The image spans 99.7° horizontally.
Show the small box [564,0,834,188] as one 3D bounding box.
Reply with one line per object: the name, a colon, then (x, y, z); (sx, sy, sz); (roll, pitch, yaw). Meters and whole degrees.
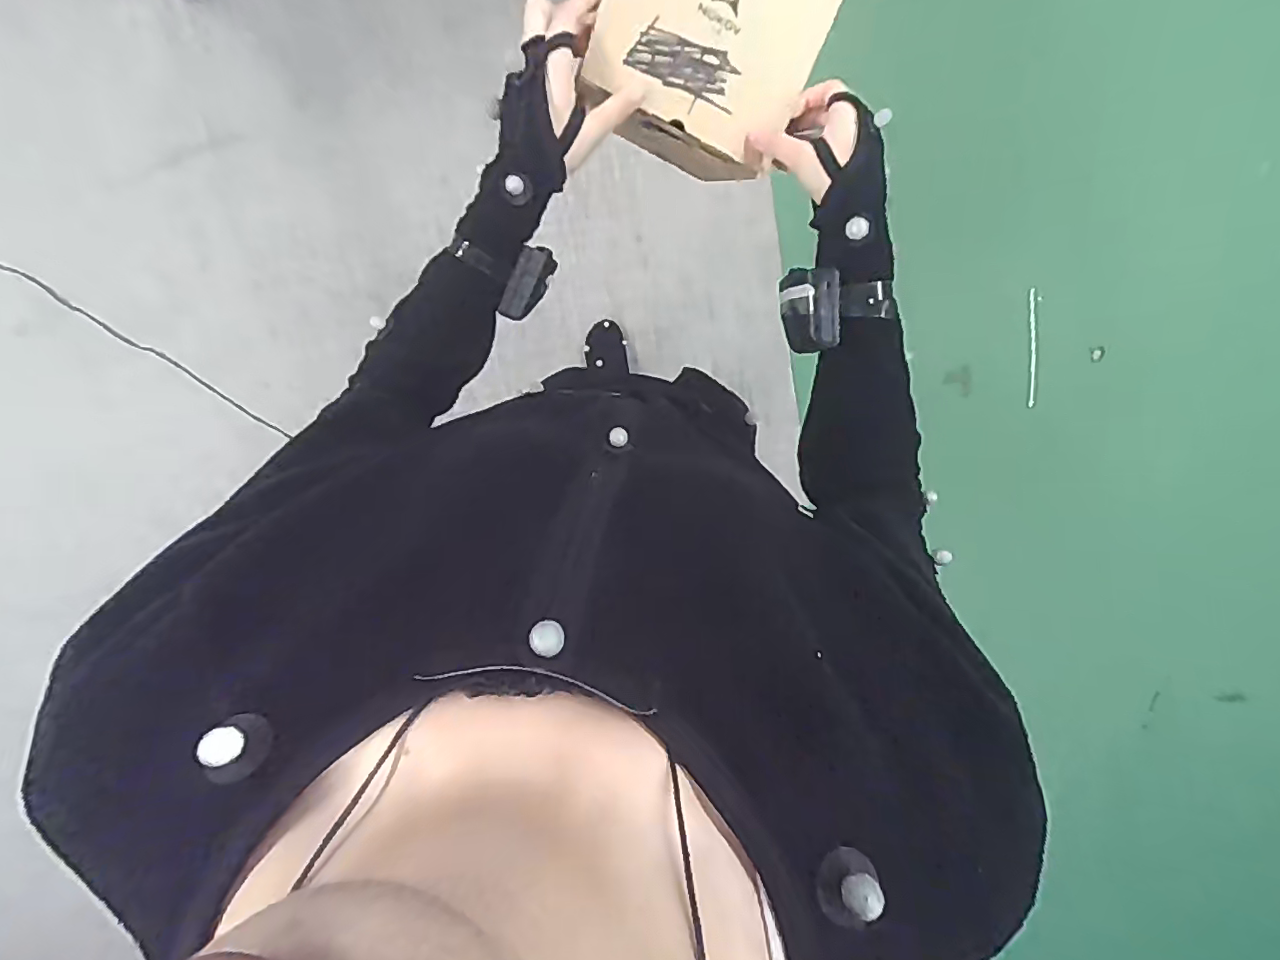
small box: (0.039, -0.377, 0.471); (0.168, 0.176, 0.179); (18, 112, -19)
